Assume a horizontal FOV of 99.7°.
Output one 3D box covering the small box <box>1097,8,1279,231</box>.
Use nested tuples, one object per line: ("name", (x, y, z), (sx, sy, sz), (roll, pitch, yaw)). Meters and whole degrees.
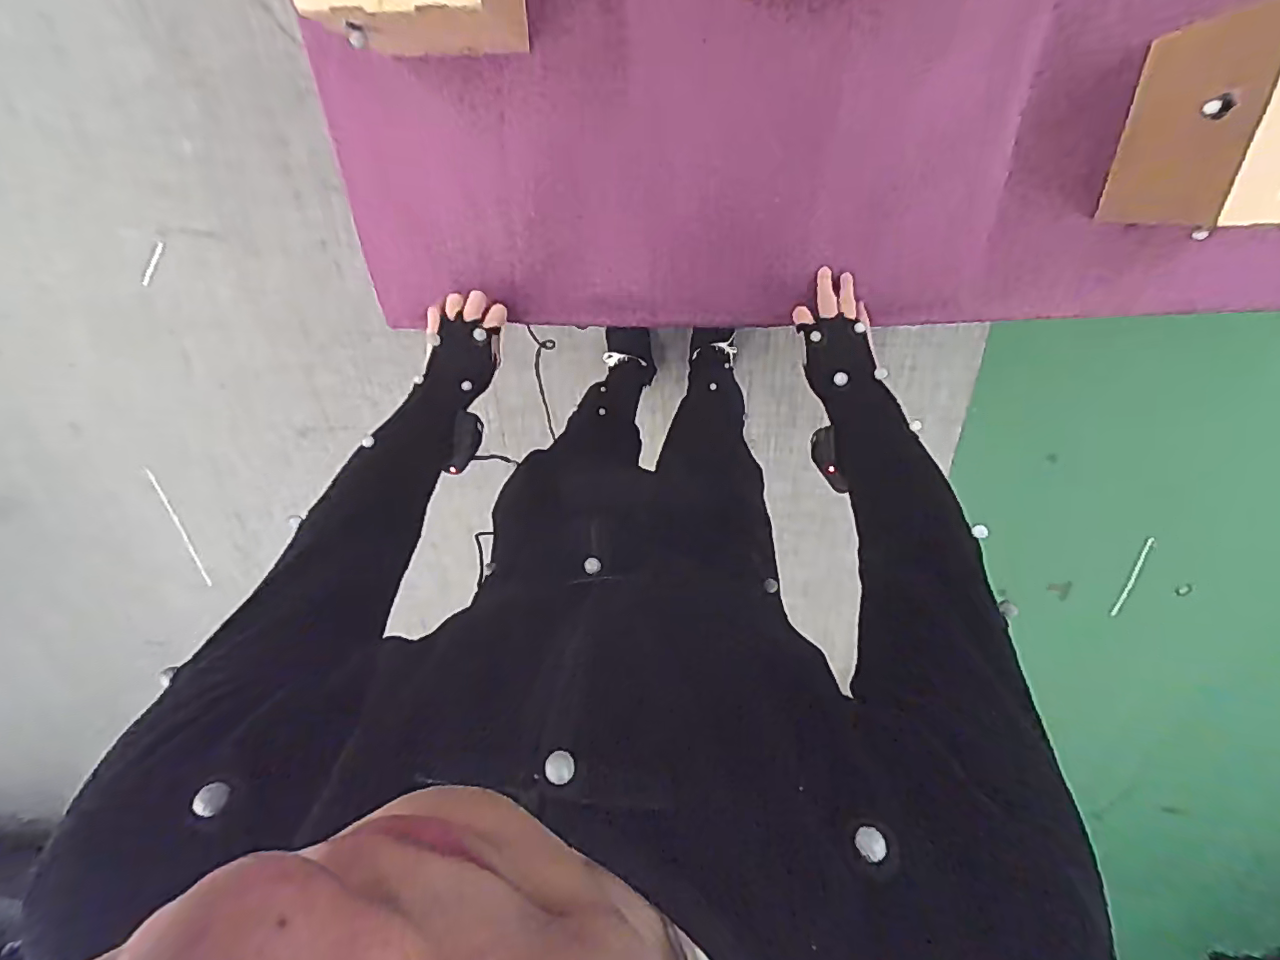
("small box", (0.611, -0.344, 0.532), (0.168, 0.176, 0.179), (2, 118, 3))

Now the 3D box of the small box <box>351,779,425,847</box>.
("small box", (-0.902, 1.221, 1.948), (0.168, 0.176, 0.179), (26, 115, -12))
